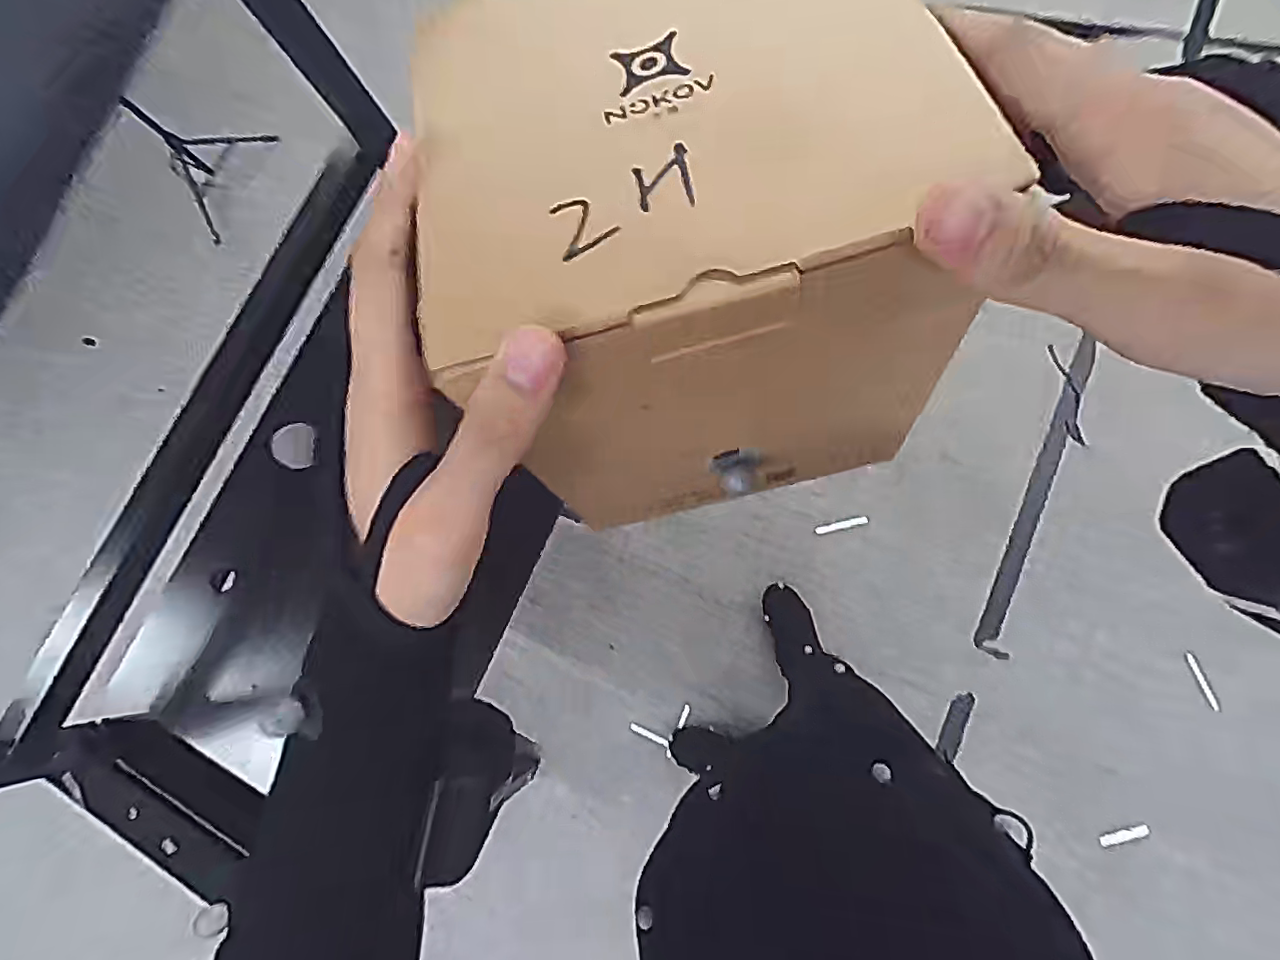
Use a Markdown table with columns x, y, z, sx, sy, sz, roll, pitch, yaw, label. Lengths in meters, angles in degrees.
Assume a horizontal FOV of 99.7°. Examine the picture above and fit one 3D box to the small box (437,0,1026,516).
| x | y | z | sx | sy | sz | roll | pitch | yaw | label |
| --- | --- | --- | --- | --- | --- | --- | --- | --- | --- |
| 0.025 | -0.102 | 0.255 | 0.168 | 0.176 | 0.179 | -14 | 68 | 8 | small box |
